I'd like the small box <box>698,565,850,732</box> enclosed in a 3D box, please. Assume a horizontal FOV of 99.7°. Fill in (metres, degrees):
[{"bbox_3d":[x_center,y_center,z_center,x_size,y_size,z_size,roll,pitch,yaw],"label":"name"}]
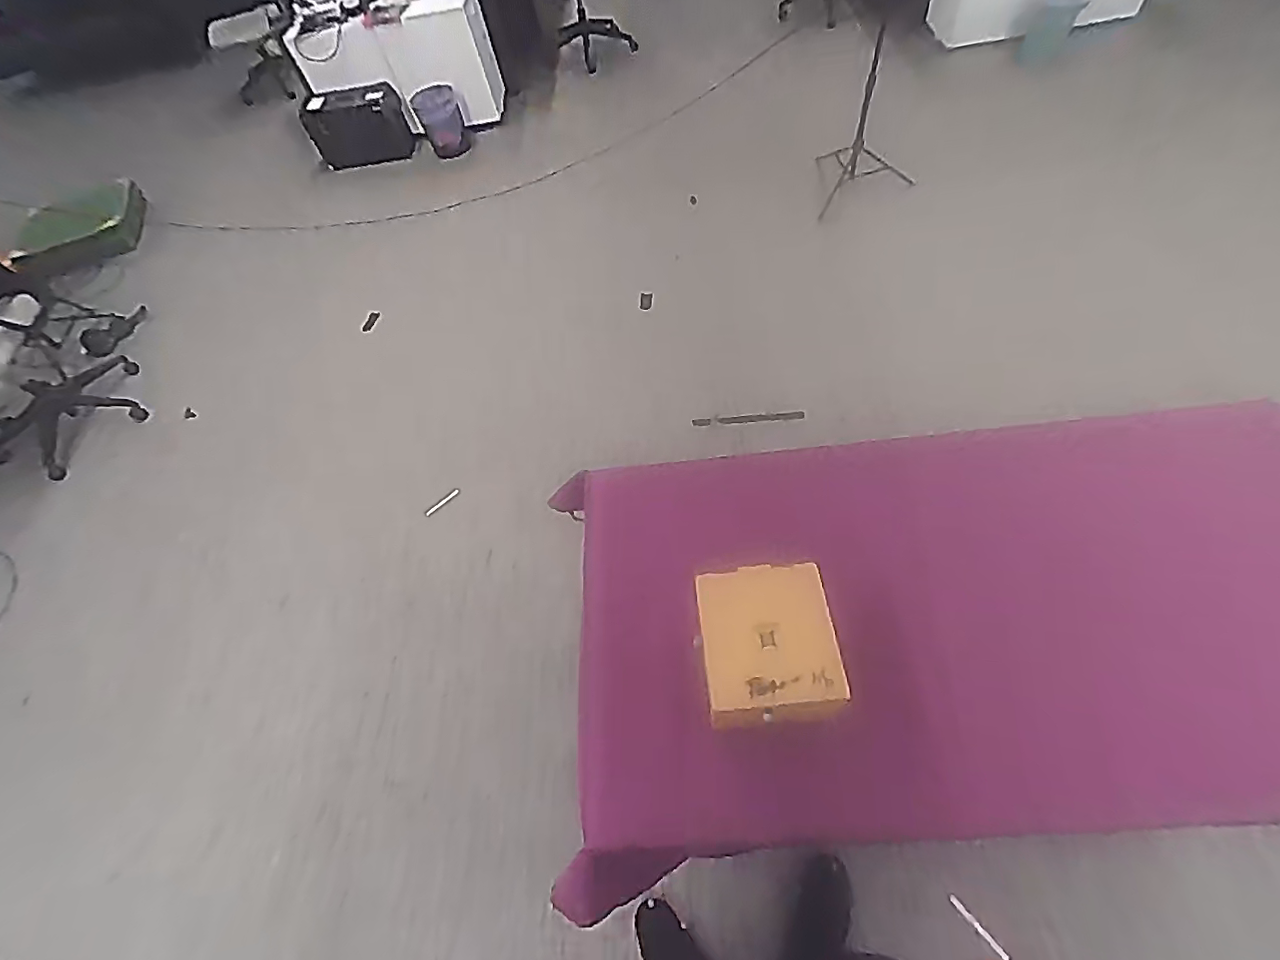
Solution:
[{"bbox_3d":[0.172,0.238,0.752,0.168,0.176,0.179,-7,57,4],"label":"small box"}]
